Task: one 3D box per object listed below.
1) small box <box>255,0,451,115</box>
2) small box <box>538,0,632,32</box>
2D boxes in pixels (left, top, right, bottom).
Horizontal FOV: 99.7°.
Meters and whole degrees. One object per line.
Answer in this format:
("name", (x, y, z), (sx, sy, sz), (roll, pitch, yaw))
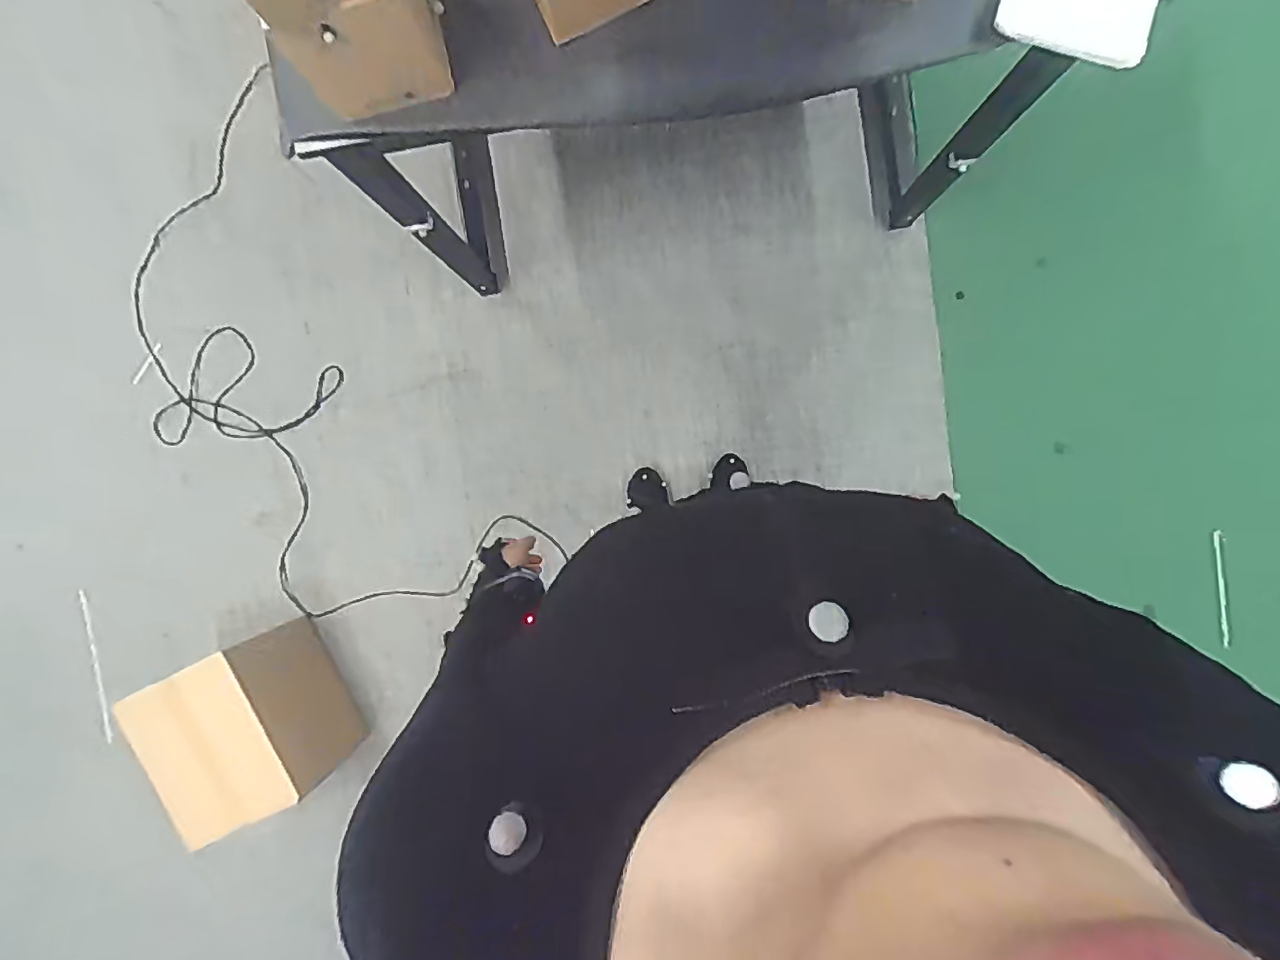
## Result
("small box", (-0.363, -0.616, 0.685), (0.168, 0.176, 0.179), (-13, 91, 3))
("small box", (-0.079, -0.719, 0.668), (0.179, 0.176, 0.168), (-24, 91, 3))
